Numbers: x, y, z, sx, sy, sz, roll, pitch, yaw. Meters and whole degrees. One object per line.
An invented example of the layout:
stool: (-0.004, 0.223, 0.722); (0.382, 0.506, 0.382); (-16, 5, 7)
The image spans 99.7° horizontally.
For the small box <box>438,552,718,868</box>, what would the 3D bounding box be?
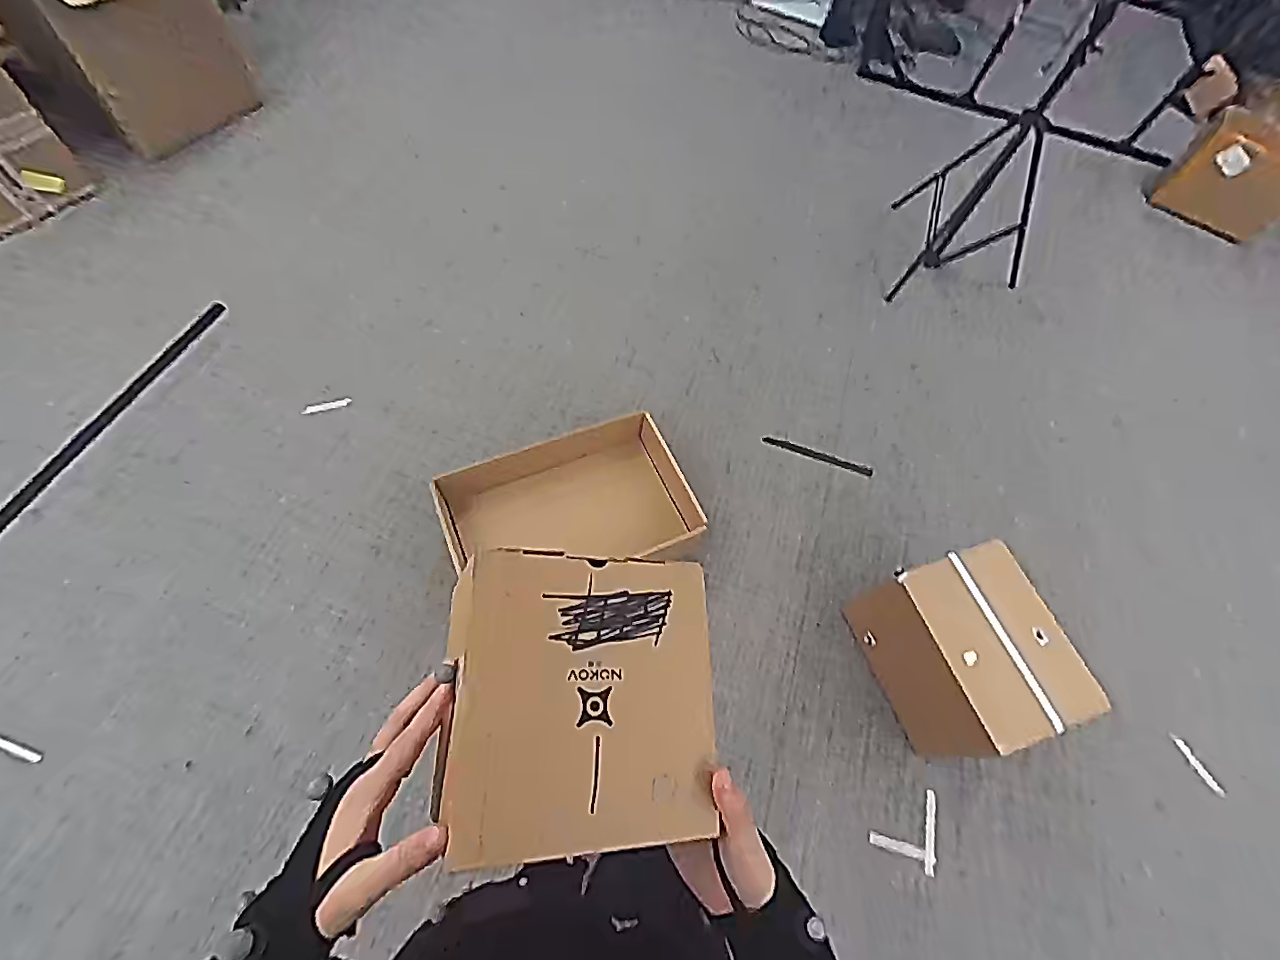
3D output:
small box: (-0.057, 0.164, 0.414); (0.168, 0.176, 0.179); (7, 67, -21)
